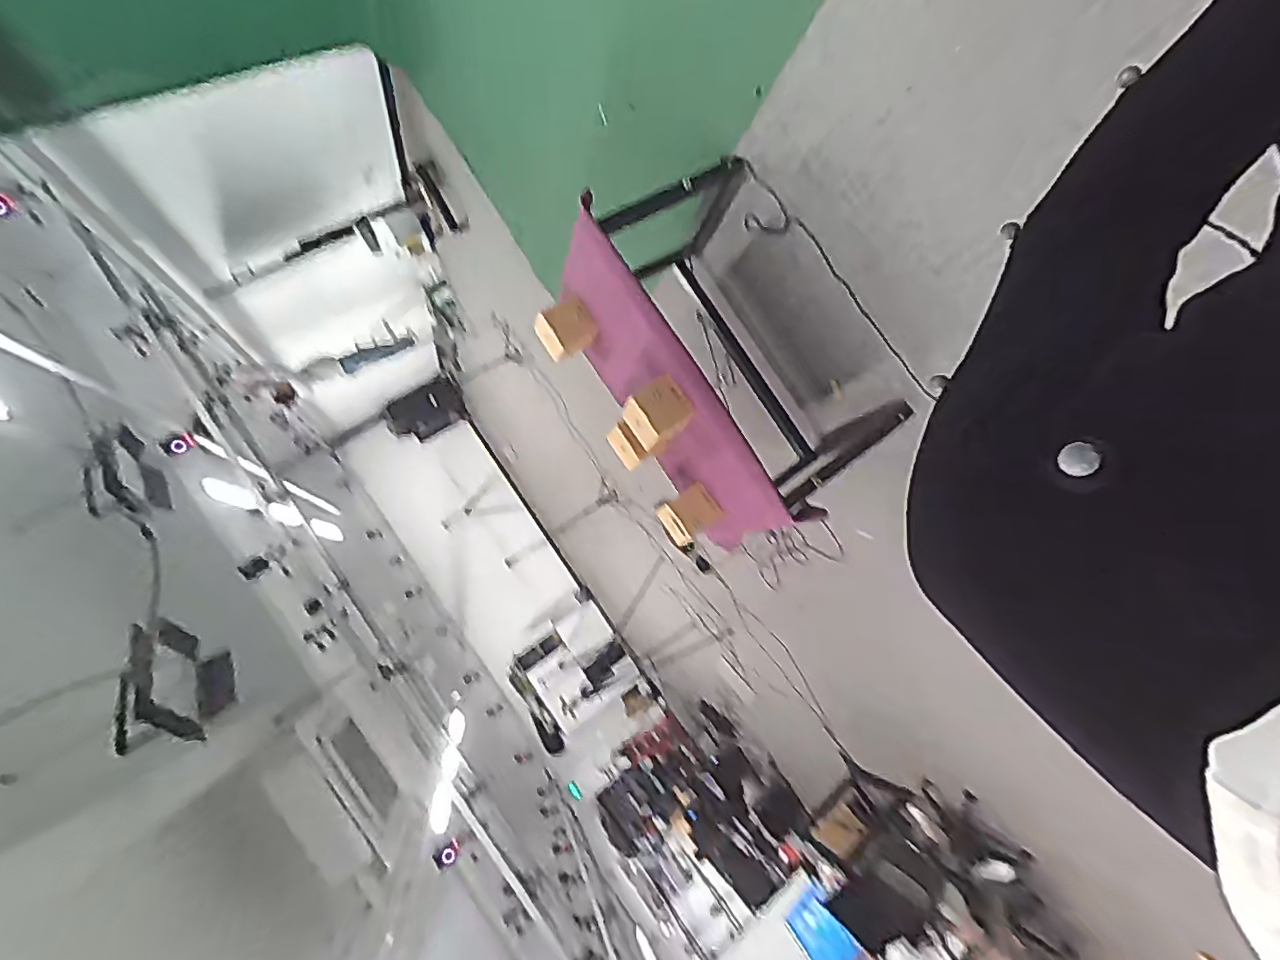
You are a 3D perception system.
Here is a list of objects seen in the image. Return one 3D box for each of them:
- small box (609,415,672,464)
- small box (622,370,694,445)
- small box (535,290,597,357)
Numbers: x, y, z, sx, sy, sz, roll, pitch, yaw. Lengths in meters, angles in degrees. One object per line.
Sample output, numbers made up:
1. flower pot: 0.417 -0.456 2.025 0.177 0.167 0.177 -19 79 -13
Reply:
1. small box: 0.002 -0.186 2.138 0.168 0.176 0.179 56 160 1
2. small box: 0.064 -0.252 1.874 0.168 0.176 0.179 55 163 3
3. small box: -0.291 -0.617 2.135 0.168 0.176 0.179 56 161 -5
